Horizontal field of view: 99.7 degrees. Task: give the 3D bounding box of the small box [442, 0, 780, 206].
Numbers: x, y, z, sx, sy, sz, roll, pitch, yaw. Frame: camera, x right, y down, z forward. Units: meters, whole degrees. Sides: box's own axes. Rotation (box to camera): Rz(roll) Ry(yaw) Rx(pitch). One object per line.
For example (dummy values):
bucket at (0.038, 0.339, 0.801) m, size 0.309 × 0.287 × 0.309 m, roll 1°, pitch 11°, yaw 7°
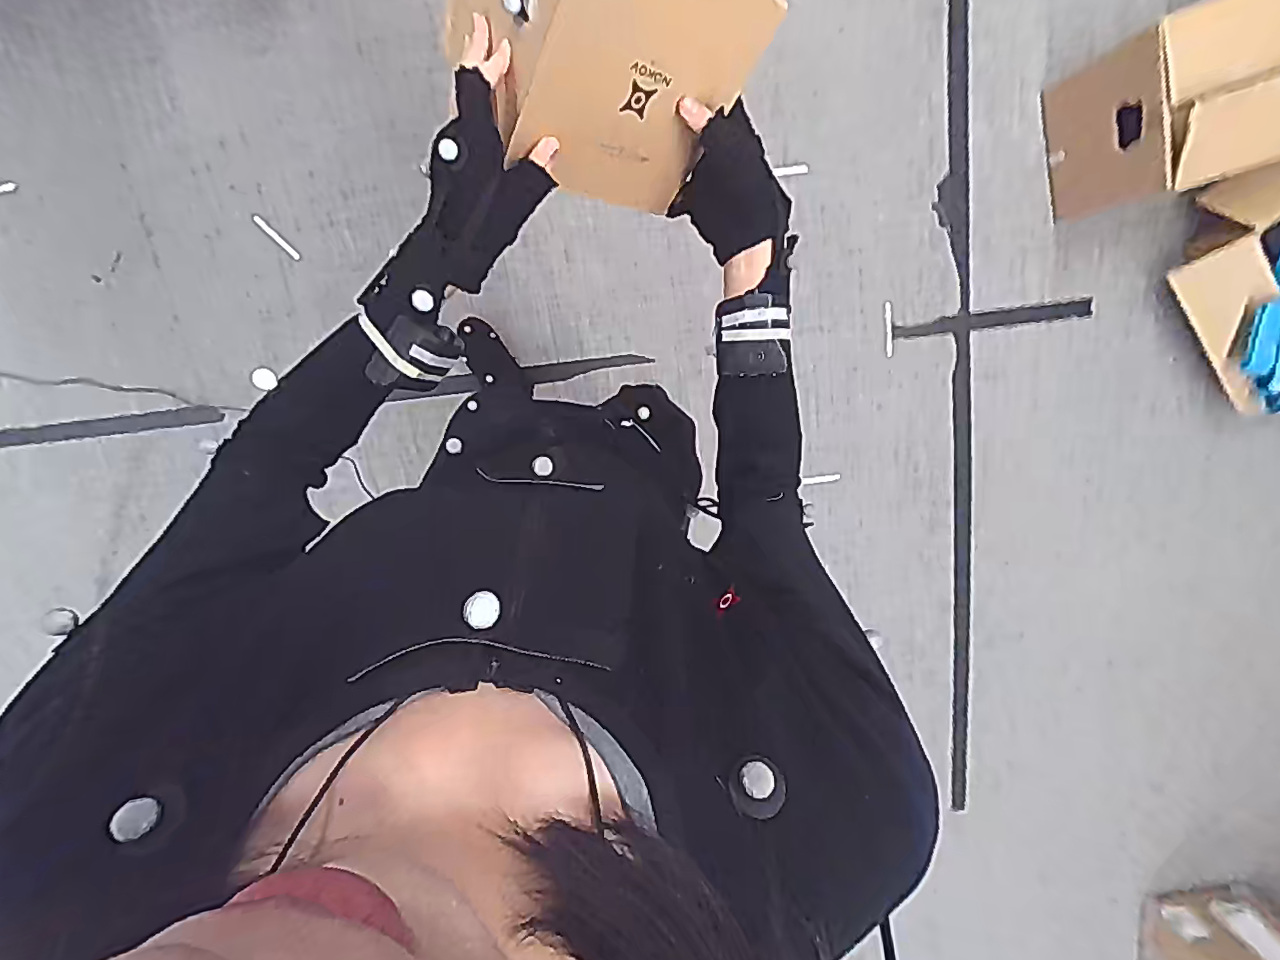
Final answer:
small box at (-0.036, -0.354, 0.414) m, size 0.179 × 0.168 × 0.176 m, roll -45°, pitch 62°, yaw 46°
